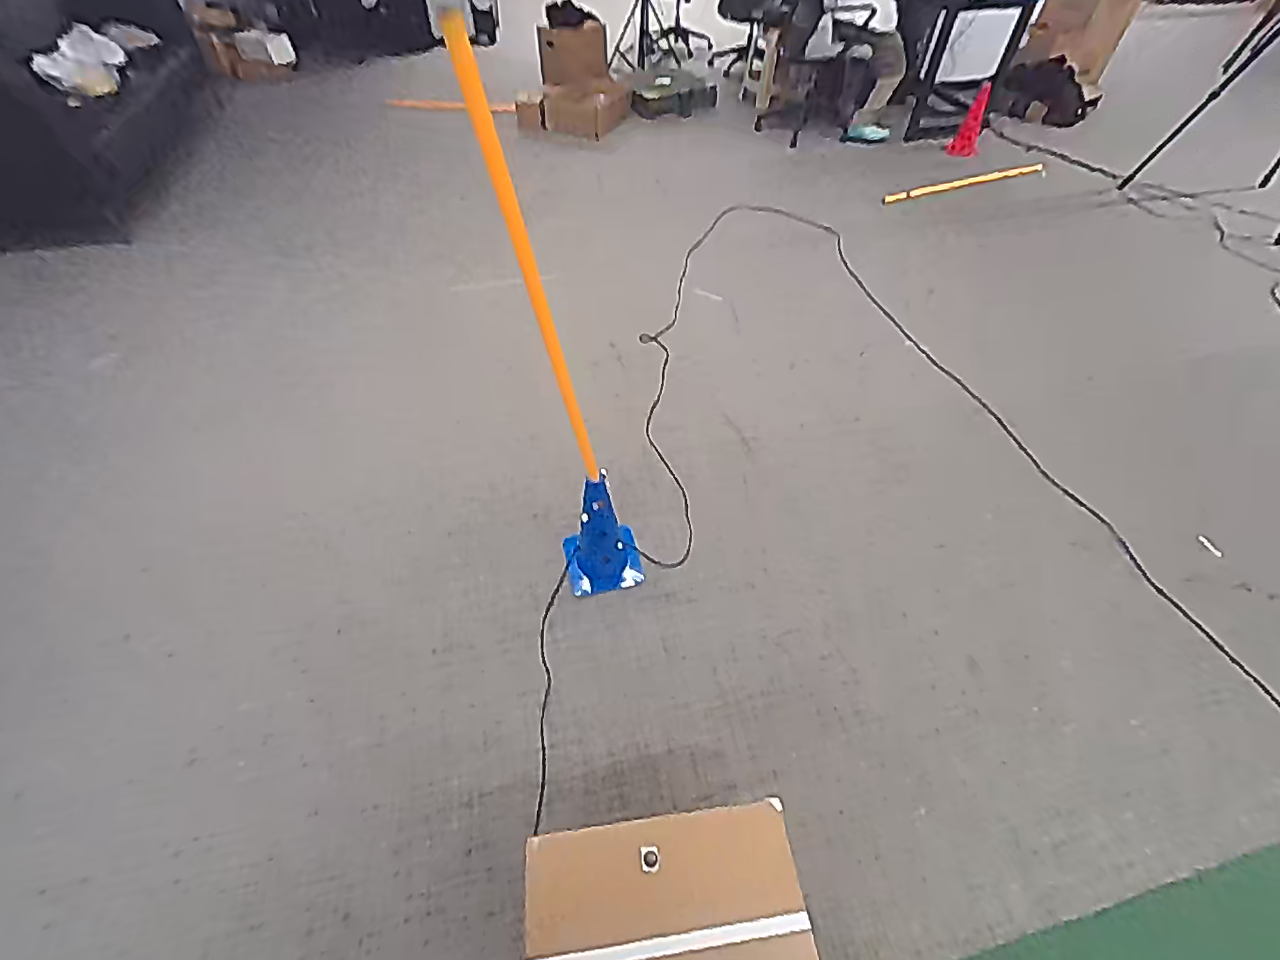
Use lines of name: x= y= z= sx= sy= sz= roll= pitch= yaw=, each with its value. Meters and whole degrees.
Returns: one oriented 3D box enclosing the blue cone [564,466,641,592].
blue cone: x=-0.106 y=0.107 z=1.363 sx=0.193 sy=0.380 sz=0.192 roll=-13 pitch=51 yaw=-10
